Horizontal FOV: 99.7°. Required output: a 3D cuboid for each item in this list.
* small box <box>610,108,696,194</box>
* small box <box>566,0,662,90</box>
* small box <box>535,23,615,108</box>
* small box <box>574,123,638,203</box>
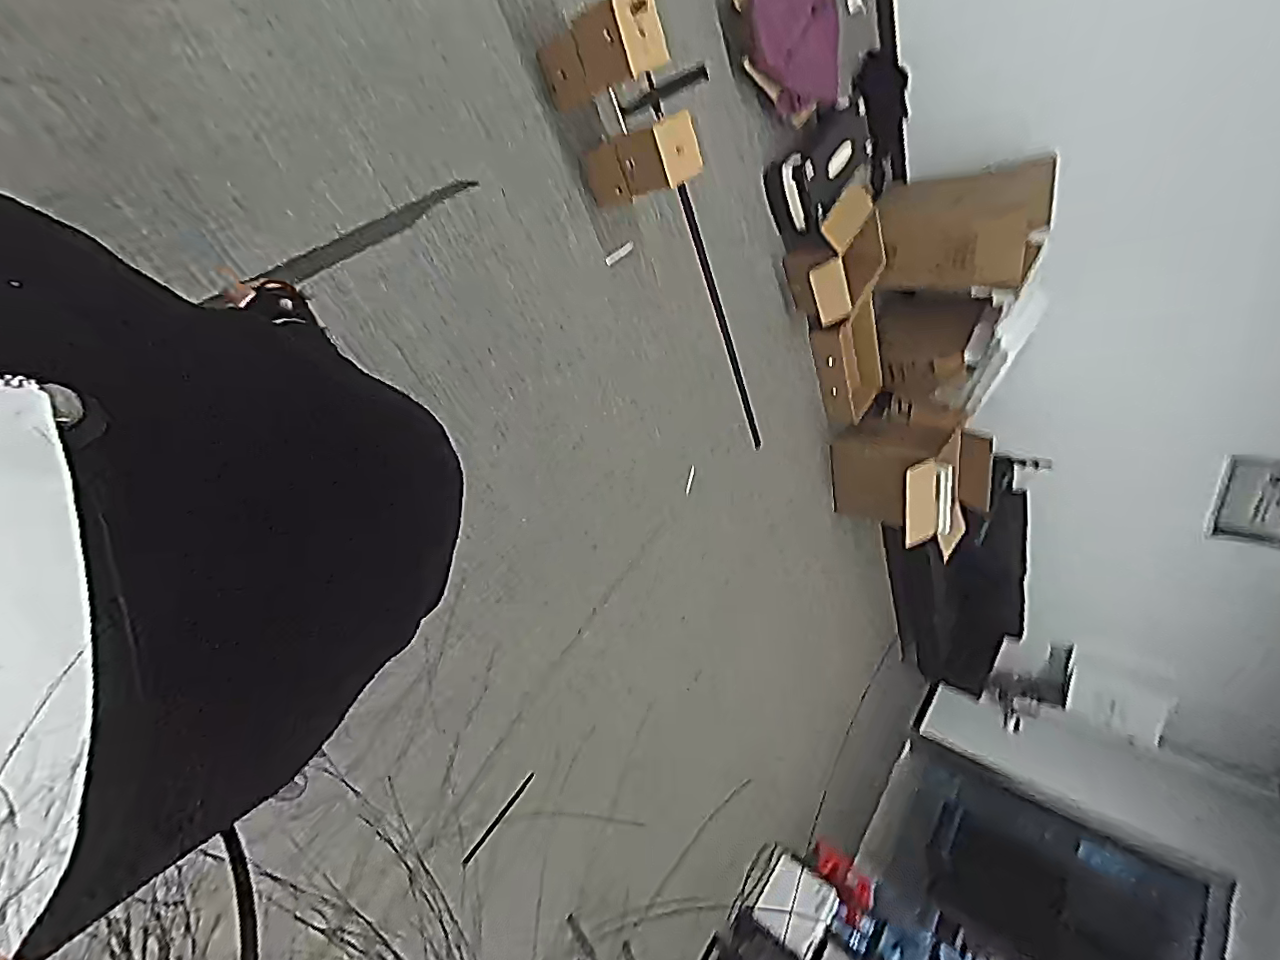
[{"bbox_3d":[0.040,-1.005,1.657,0.179,0.176,0.168,-45,129,-27],"label":"small box"},{"bbox_3d":[-0.073,-1.209,1.478,0.168,0.176,0.179,-44,129,-30],"label":"small box"},{"bbox_3d":[-0.186,-1.234,1.598,0.179,0.176,0.168,-44,129,-28],"label":"small box"},{"bbox_3d":[-0.082,-1.025,1.765,0.168,0.176,0.179,-48,131,-27],"label":"small box"}]
